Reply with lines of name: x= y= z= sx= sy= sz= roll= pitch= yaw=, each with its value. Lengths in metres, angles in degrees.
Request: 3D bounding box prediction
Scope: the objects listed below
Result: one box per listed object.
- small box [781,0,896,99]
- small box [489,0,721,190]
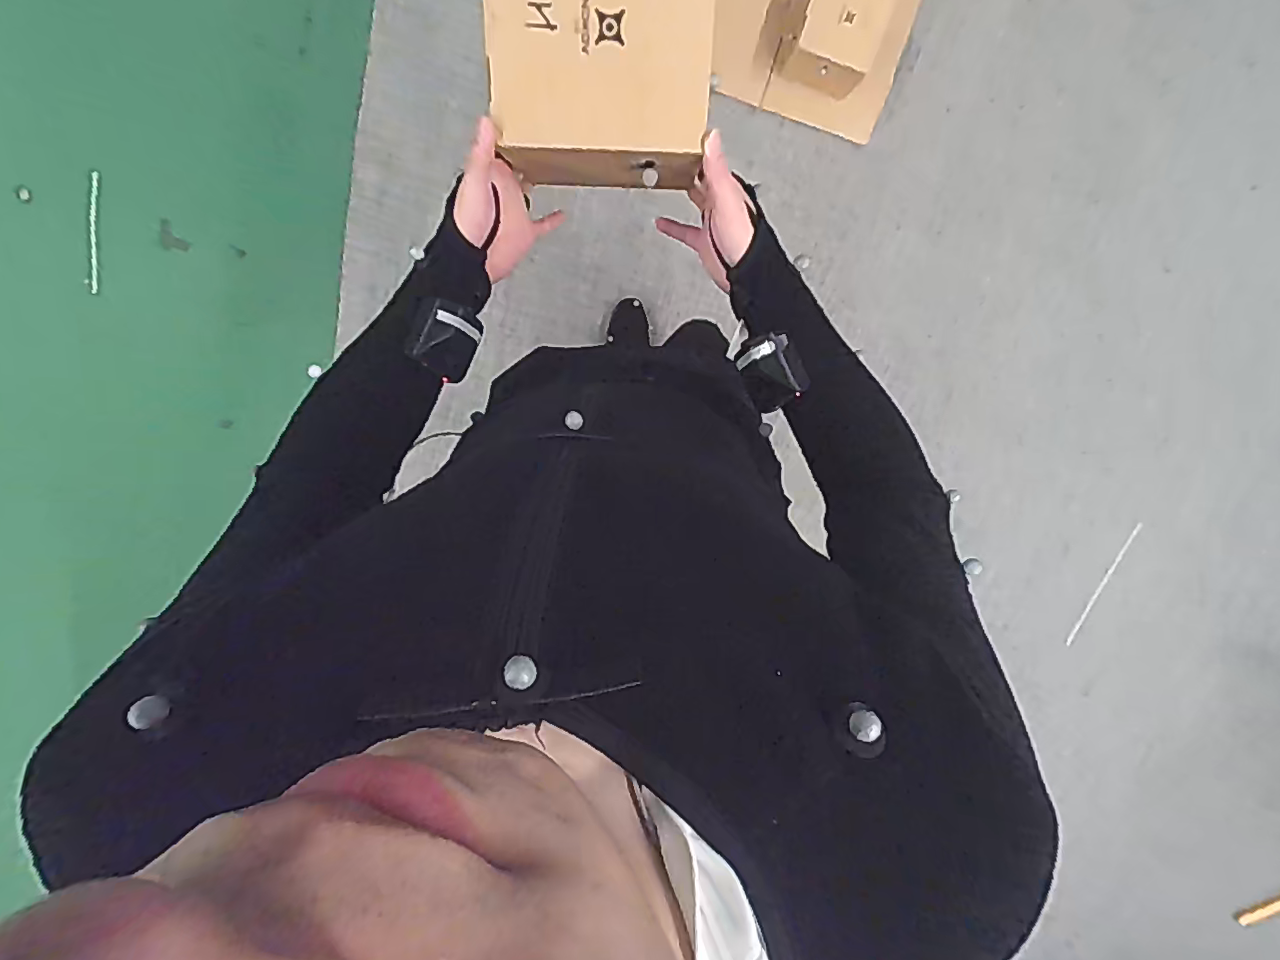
small box: x=0.445 y=-1.017 z=1.241 sx=0.179 sy=0.176 sz=0.168 roll=17 pitch=107 yaw=-5
small box: x=-0.027 y=-0.368 z=0.485 sx=0.179 sy=0.176 sz=0.168 roll=2 pitch=109 yaw=0
